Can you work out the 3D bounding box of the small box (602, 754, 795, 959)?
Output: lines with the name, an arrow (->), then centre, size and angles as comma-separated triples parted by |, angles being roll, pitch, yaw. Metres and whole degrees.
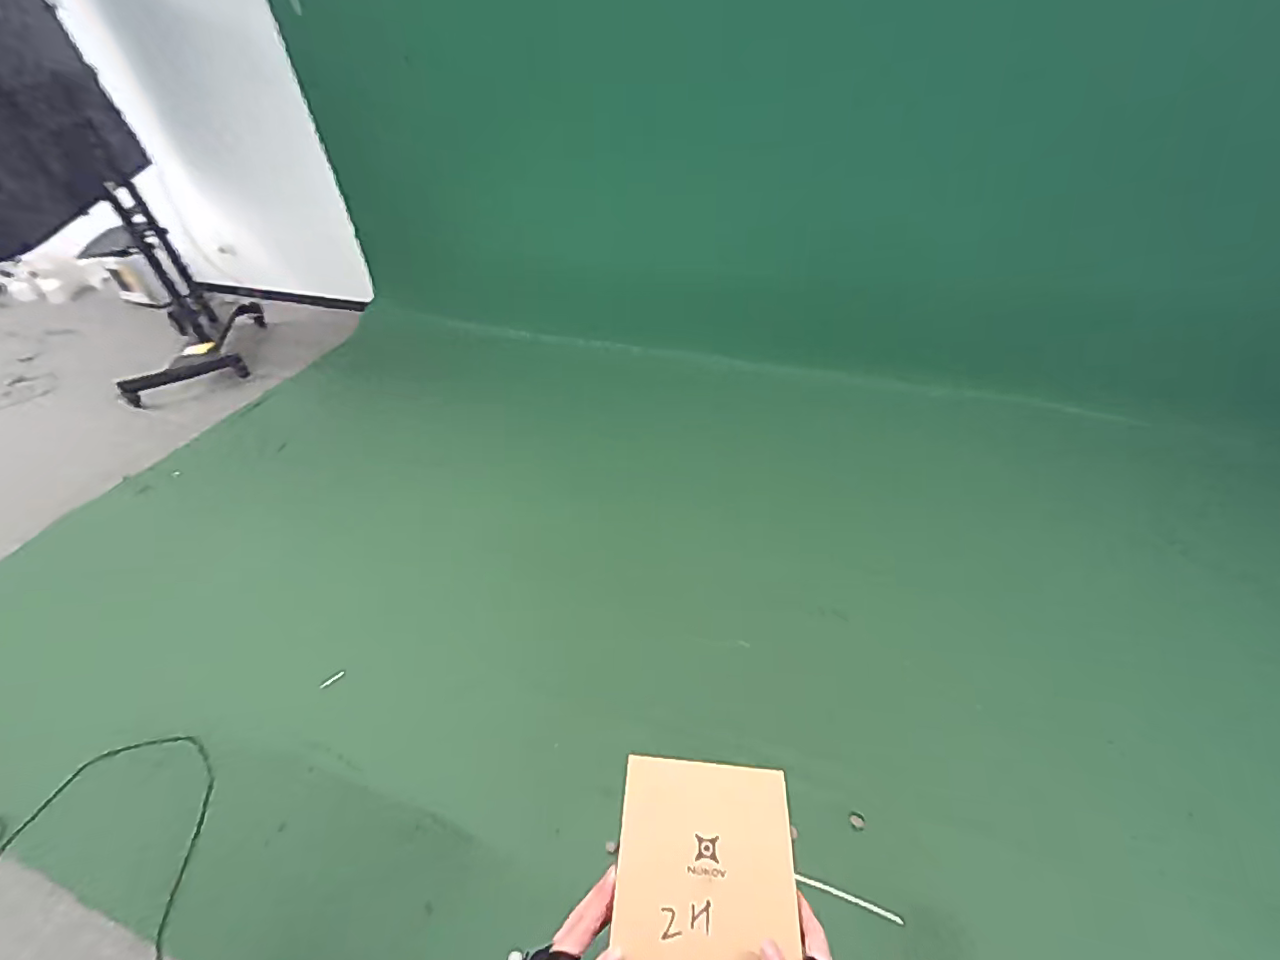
small box -> 0.053, 0.415, 0.559 | 0.168, 0.176, 0.179 | 5, 42, 3
